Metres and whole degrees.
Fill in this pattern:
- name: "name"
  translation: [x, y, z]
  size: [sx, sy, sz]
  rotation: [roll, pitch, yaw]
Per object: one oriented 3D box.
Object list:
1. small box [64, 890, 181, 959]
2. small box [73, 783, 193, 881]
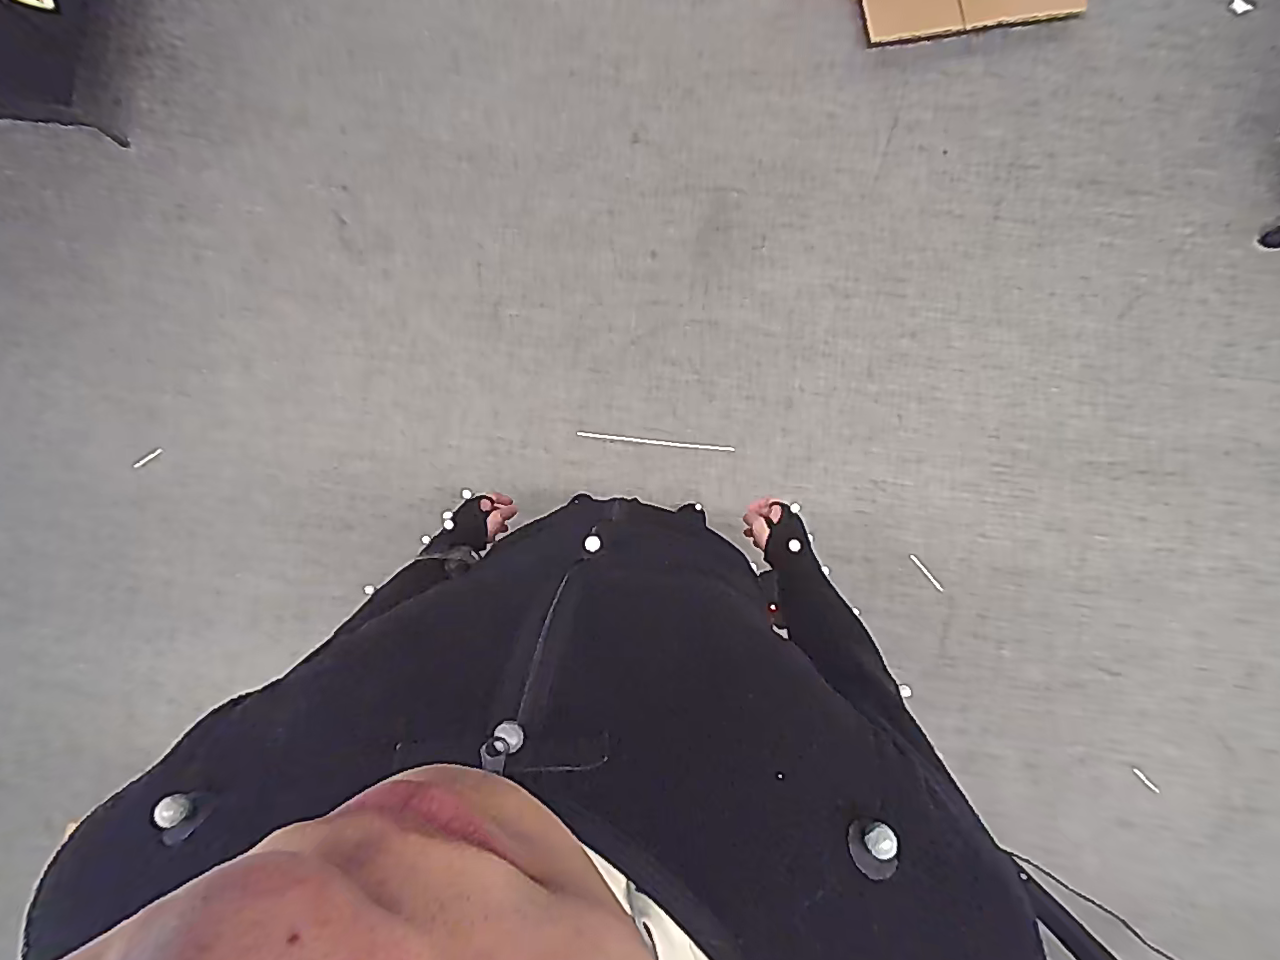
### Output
- name: "small box"
  translation: [-1.479, 1.317, 1.546]
  size: [0.179, 0.176, 0.168]
  rotation: [5, 88, 0]
- name: "small box"
  translation: [-1.452, 1.004, 1.557]
  size: [0.179, 0.176, 0.168]
  rotation: [8, 88, 1]
